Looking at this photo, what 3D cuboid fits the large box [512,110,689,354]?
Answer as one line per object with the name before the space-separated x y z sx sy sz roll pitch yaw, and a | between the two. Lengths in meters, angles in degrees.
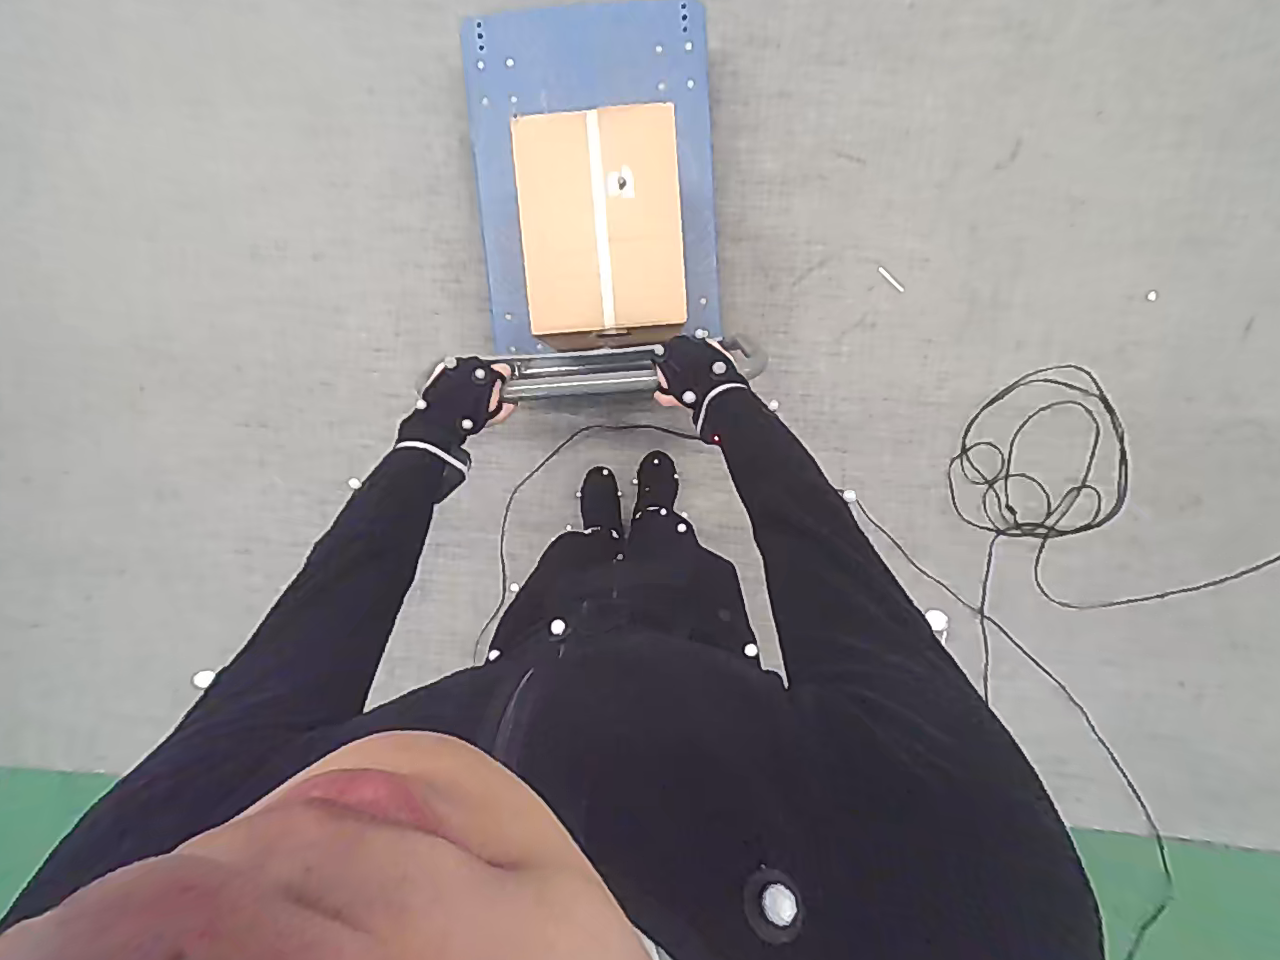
large box | -0.072 -0.509 1.195 0.320 0.320 0.408 -5 97 0
